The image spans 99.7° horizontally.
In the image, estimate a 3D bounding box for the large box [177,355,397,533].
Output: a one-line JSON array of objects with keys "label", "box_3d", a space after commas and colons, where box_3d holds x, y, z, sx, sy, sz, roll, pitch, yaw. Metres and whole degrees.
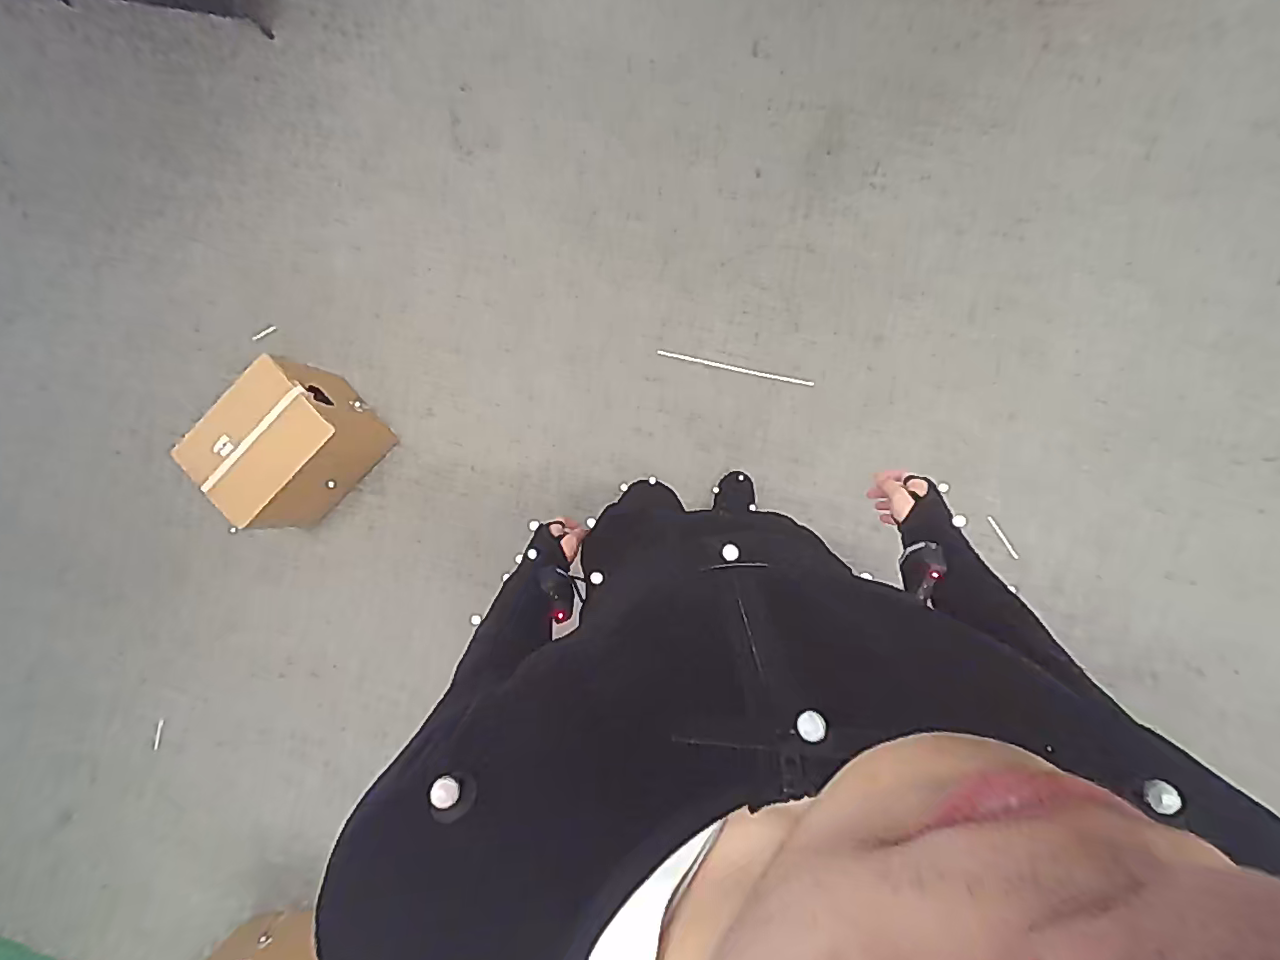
[{"label": "large box", "box_3d": [-1.035, -0.101, 1.626, 0.408, 0.320, 0.320, -45, 84, 5]}]
